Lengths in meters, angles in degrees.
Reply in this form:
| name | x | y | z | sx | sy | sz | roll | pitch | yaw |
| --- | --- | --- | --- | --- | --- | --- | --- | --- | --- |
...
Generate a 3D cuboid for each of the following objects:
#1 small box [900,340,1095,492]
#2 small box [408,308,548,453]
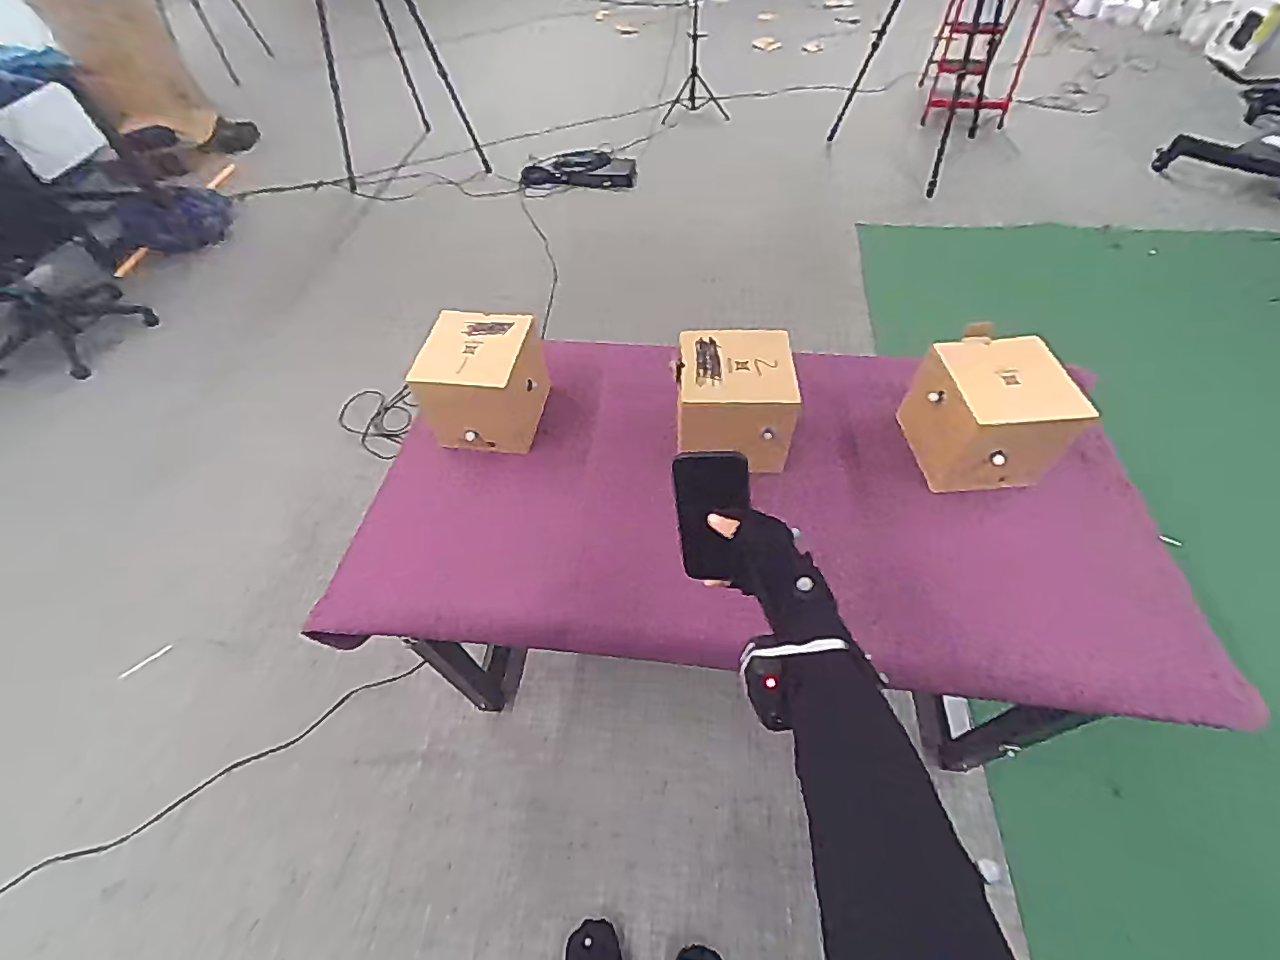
| name | x | y | z | sx | sy | sz | roll | pitch | yaw |
| --- | --- | --- | --- | --- | --- | --- | --- | --- | --- |
| small box | 0.539 | -0.093 | 0.847 | 0.168 | 0.176 | 0.179 | -4 | 52 | 1 |
| small box | -0.266 | -0.171 | 0.940 | 0.168 | 0.176 | 0.179 | 6 | 56 | 7 |
